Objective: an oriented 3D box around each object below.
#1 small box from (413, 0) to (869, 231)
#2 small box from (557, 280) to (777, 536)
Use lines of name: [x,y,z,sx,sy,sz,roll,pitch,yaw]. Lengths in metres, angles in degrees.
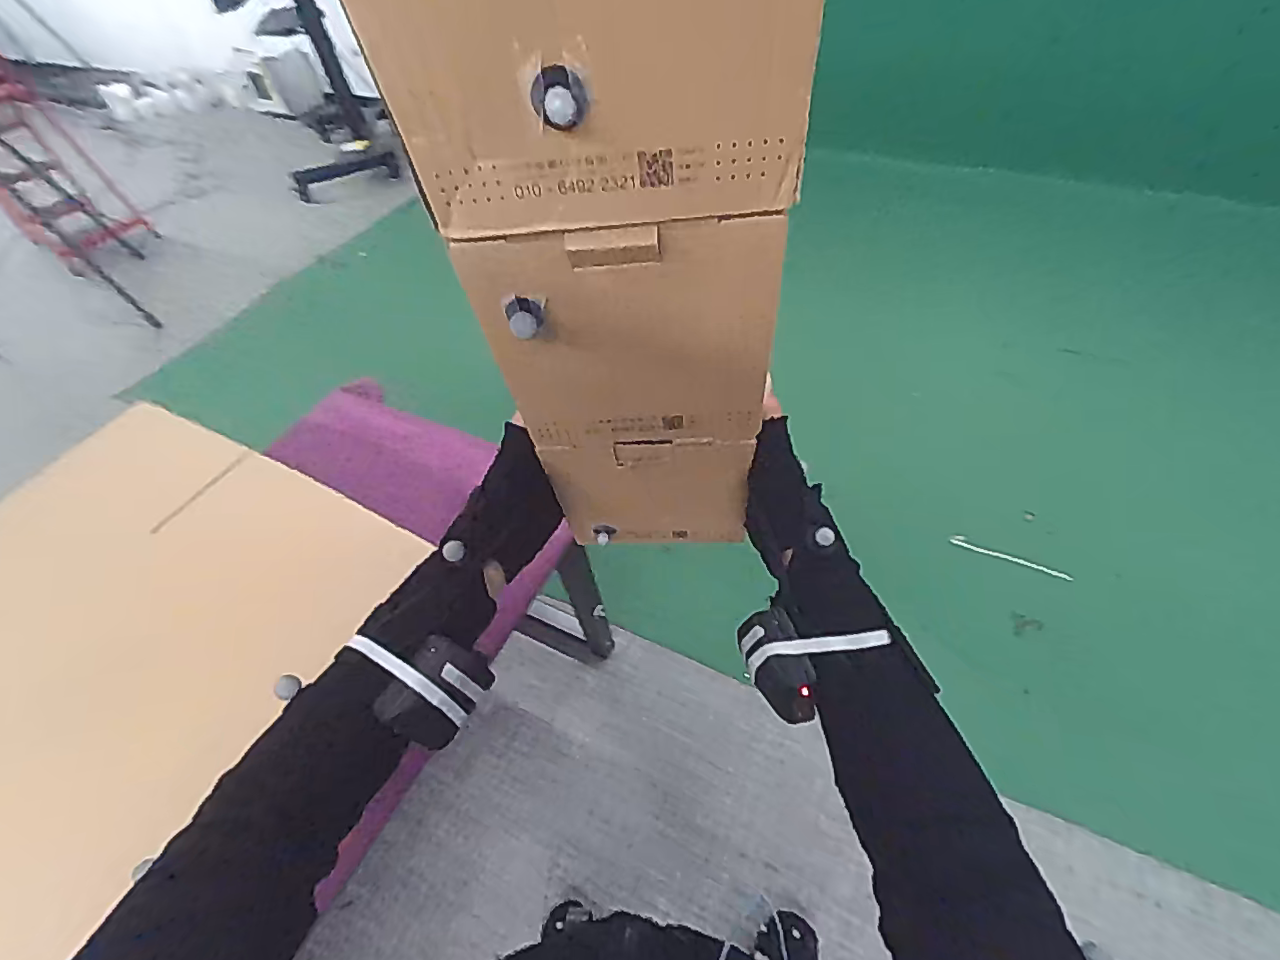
small box: [-0.002,-0.234,0.229,0.168,0.176,0.179,-3,57,4]
small box: [0.027,-0.054,0.502,0.168,0.176,0.179,-3,59,5]
